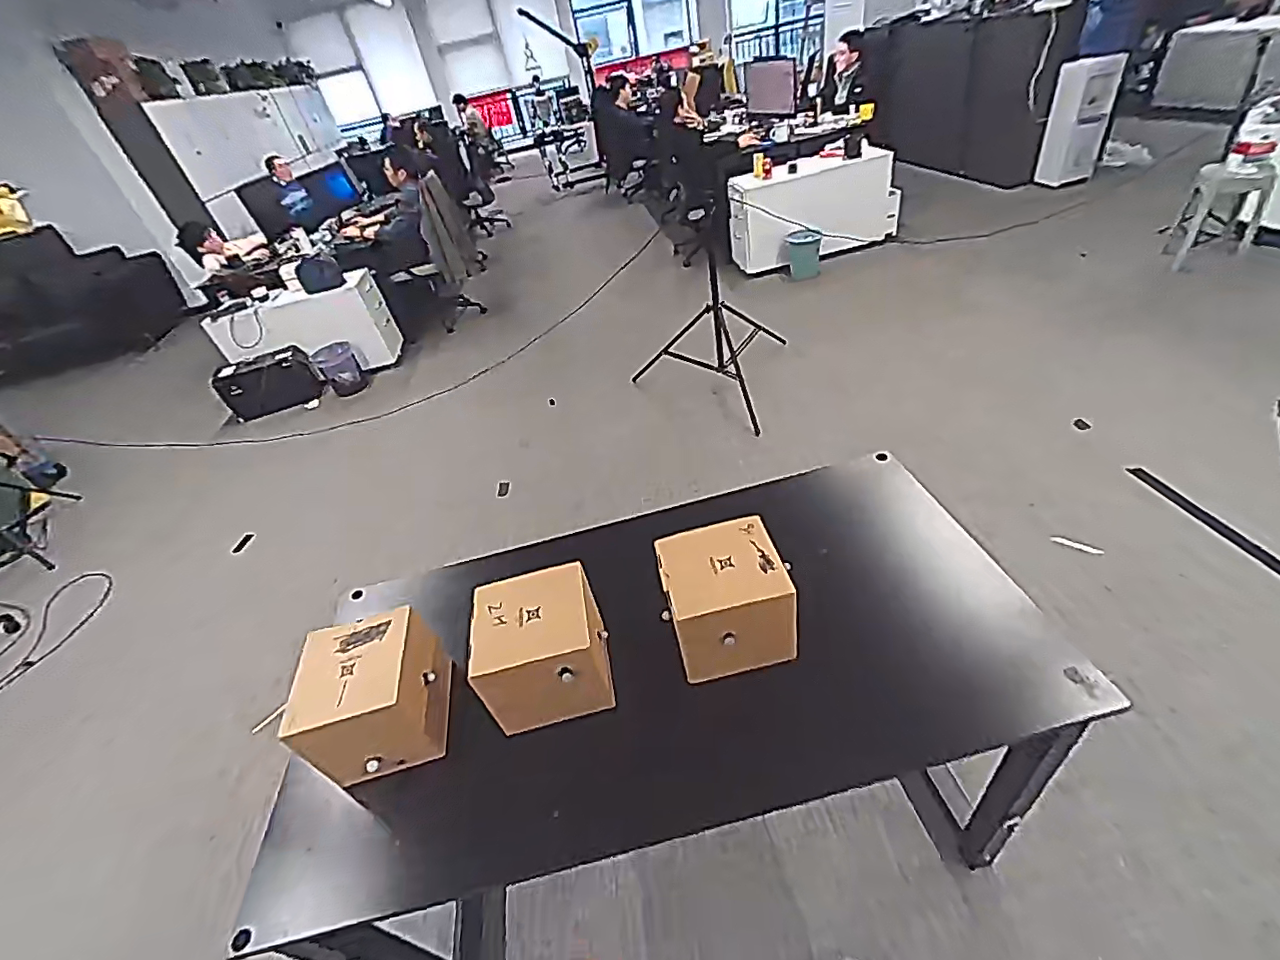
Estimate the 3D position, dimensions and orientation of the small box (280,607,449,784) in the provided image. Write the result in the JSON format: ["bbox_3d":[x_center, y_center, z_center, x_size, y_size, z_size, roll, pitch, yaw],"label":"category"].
[{"bbox_3d":[-0.412,0.336,0.846,0.168,0.176,0.179,-16,40,-3],"label":"small box"}]

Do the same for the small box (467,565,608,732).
[{"bbox_3d":[-0.154,0.266,0.855,0.179,0.176,0.168,-15,38,-2],"label":"small box"}]

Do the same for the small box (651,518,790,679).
[{"bbox_3d":[0.129,0.192,0.864,0.179,0.176,0.168,-14,39,0],"label":"small box"}]
